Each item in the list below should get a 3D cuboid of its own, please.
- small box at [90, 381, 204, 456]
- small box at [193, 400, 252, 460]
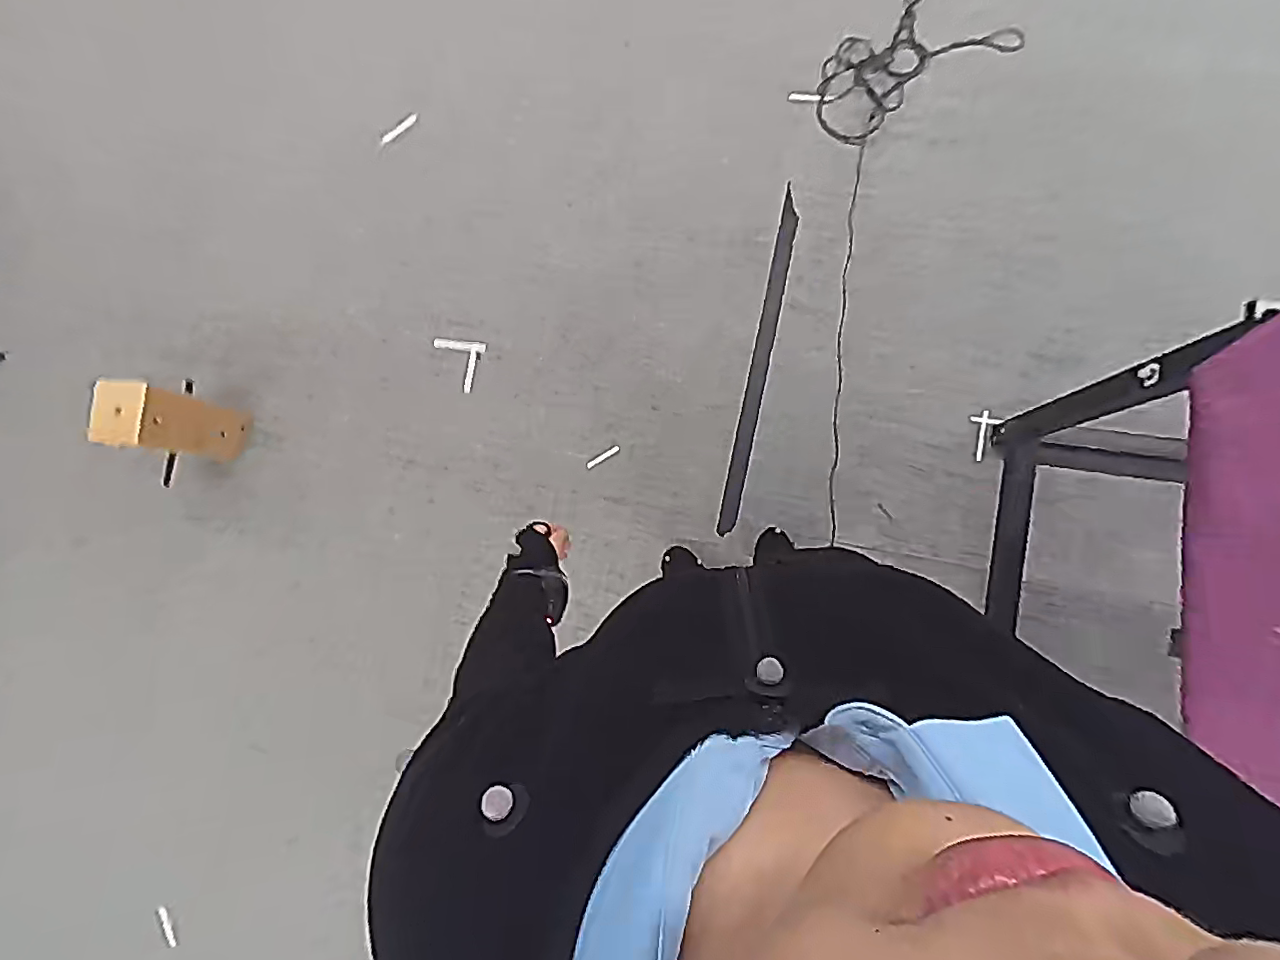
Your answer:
[{"bbox_3d":[-1.396,-0.172,1.544,0.168,0.176,0.179,5,86,9],"label":"small box"},{"bbox_3d":[-1.379,-0.164,1.706,0.179,0.176,0.168,13,86,10],"label":"small box"}]
